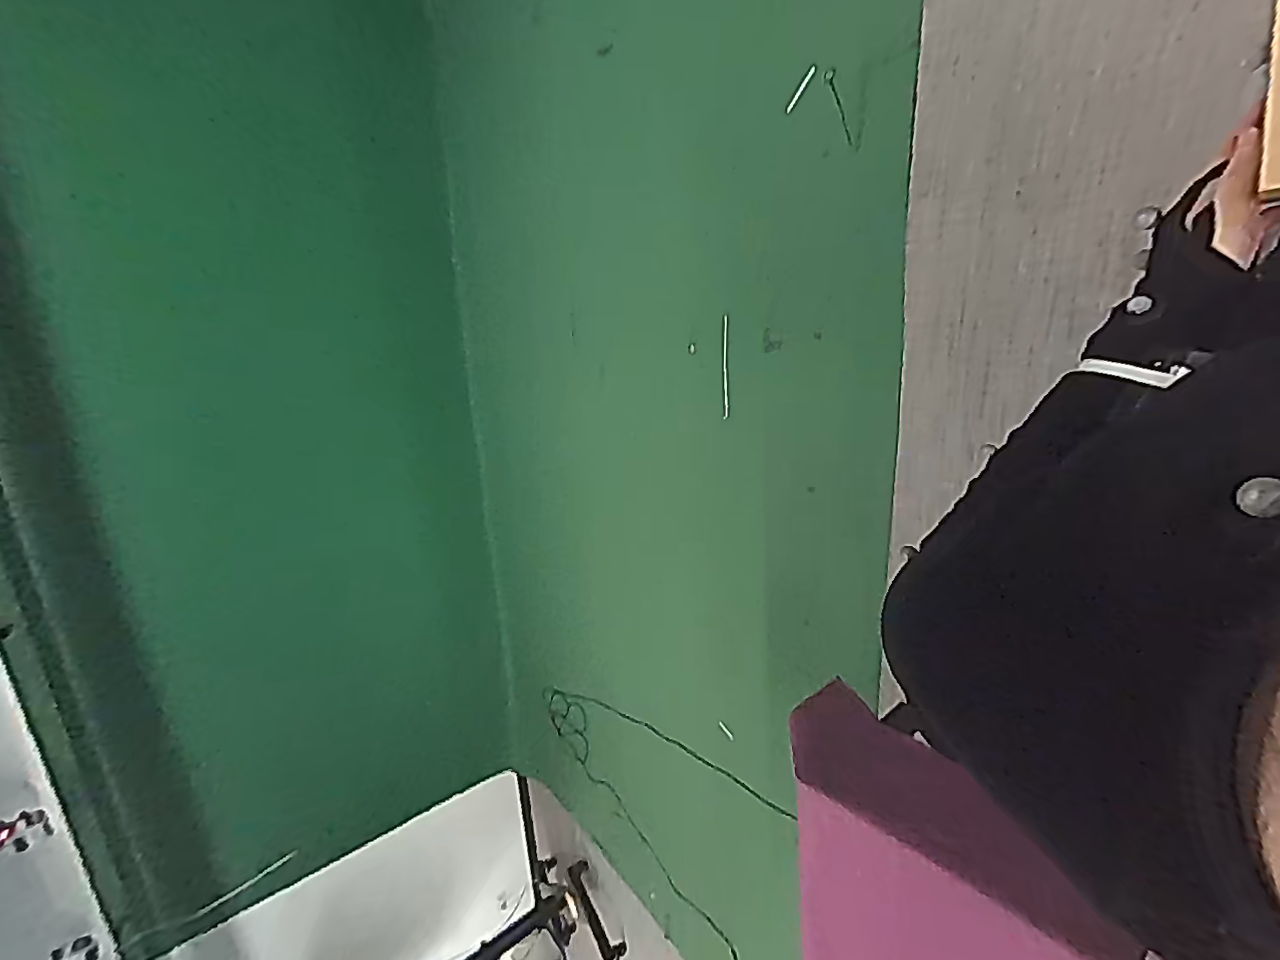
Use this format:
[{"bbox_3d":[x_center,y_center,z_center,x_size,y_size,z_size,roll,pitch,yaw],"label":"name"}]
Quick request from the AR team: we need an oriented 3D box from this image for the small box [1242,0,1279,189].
[{"bbox_3d":[0.430,-0.257,0.260,0.179,0.176,0.168,6,111,49],"label":"small box"}]
